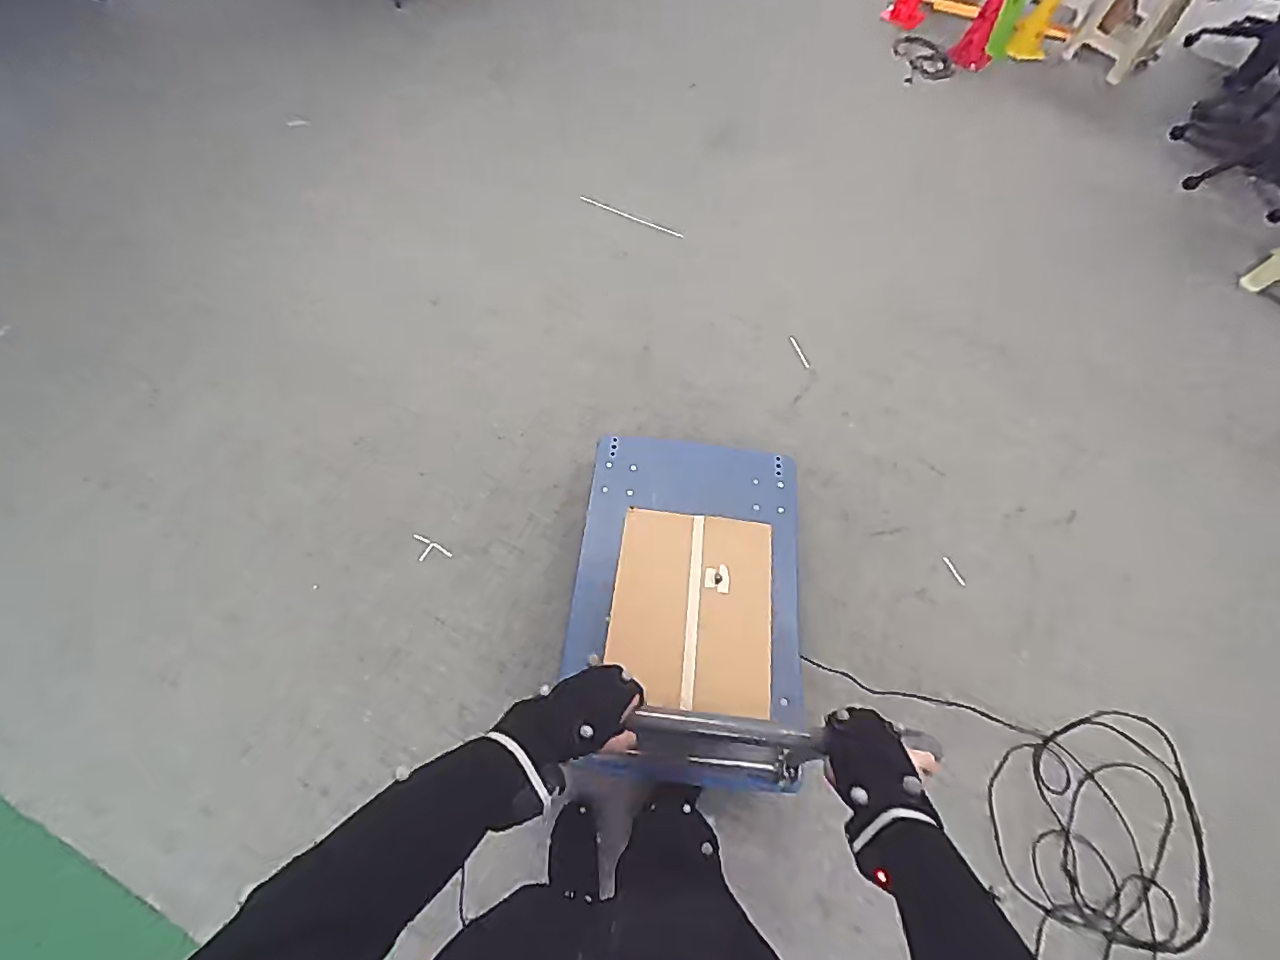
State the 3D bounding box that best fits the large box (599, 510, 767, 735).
[{"bbox_3d":[0.091,0.327,1.207,0.320,0.320,0.408,7,60,1],"label":"large box"}]
